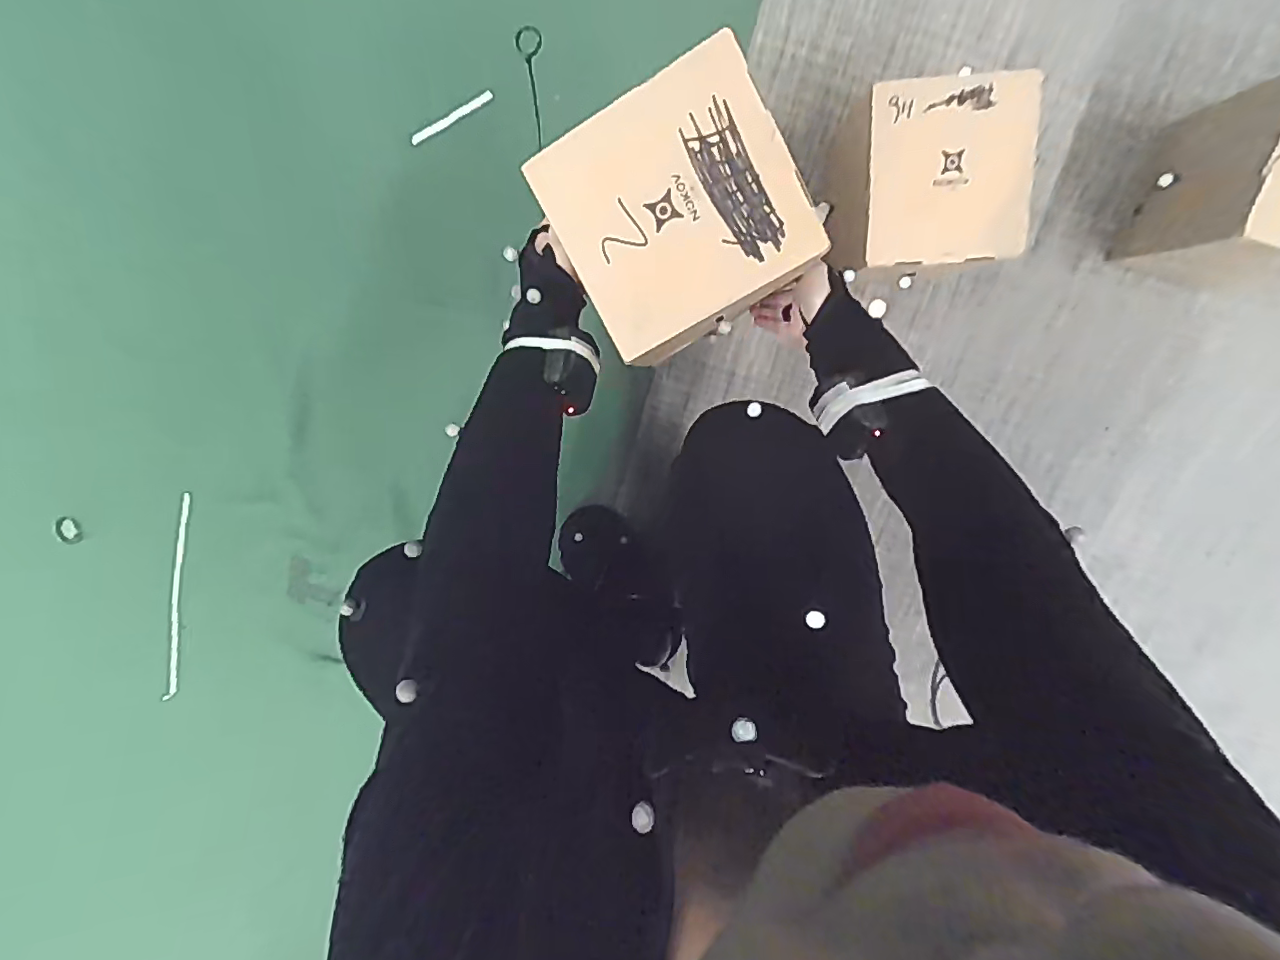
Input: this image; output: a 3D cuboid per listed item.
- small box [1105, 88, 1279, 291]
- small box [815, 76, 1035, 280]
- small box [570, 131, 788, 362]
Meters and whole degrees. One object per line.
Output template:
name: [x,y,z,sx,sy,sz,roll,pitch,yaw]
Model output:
small box: [0.710,-0.323,0.621,0.179,0.176,0.168,13,103,-2]
small box: [0.312,-0.332,0.632,0.168,0.176,0.179,-2,104,2]
small box: [0.048,-0.249,0.632,0.179,0.176,0.168,-30,97,10]
